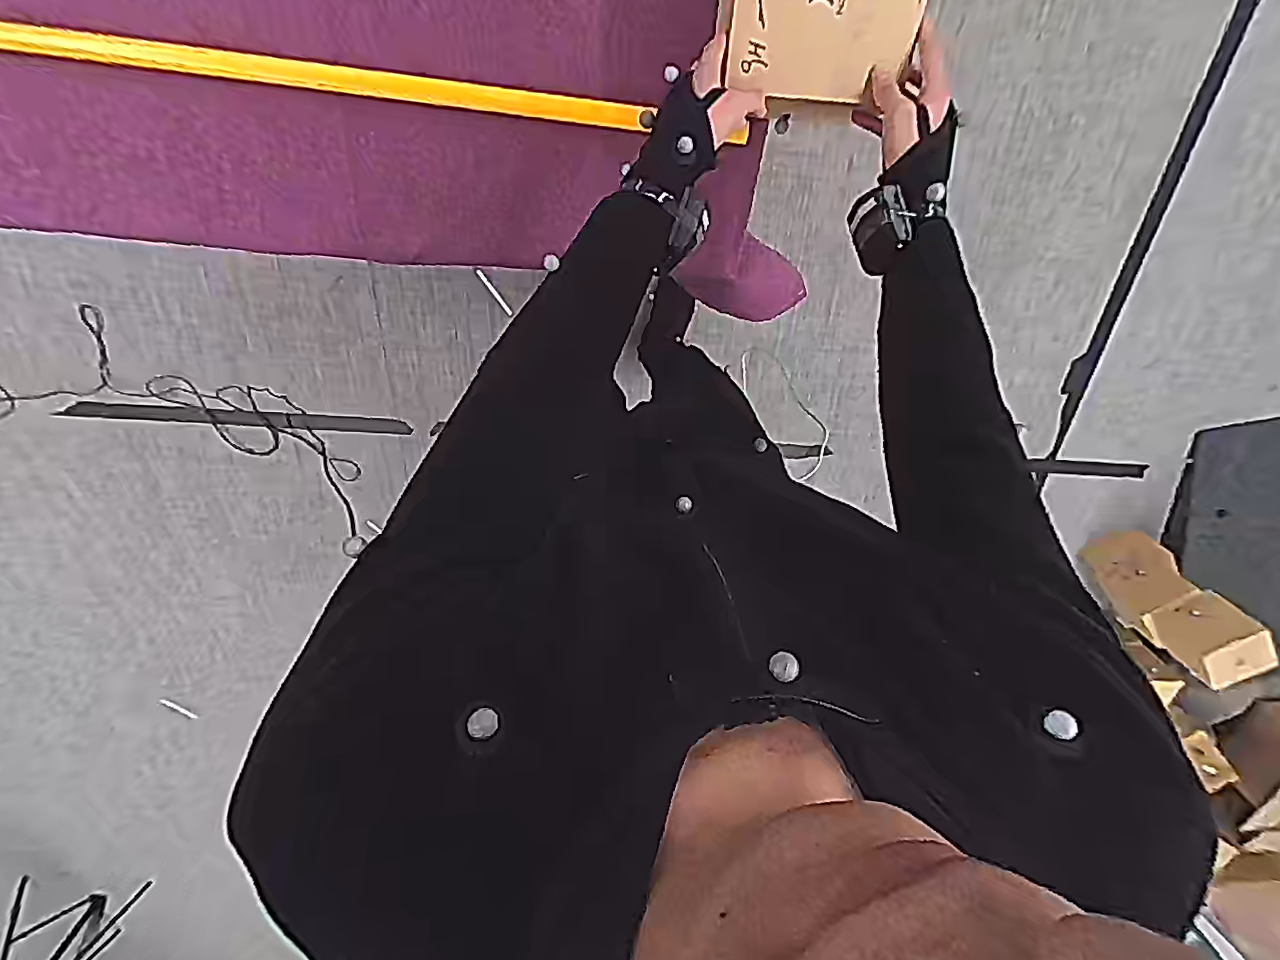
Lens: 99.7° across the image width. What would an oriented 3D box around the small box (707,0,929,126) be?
[{"bbox_3d":[0.173,-0.471,0.552,0.179,0.176,0.168,5,118,-2],"label":"small box"}]
